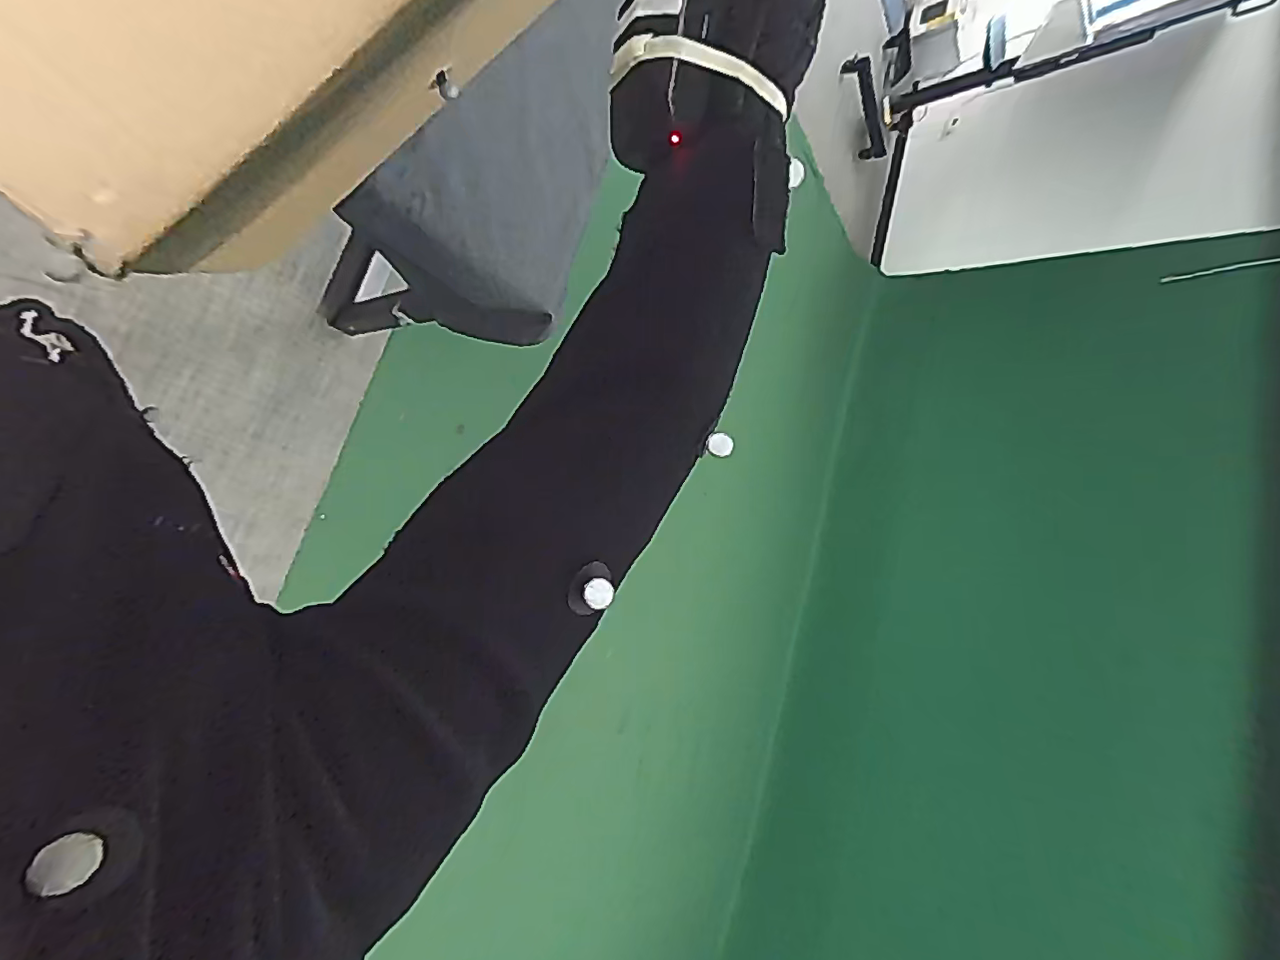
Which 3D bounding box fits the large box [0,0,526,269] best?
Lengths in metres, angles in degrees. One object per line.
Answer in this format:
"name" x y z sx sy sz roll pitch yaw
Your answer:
"large box" -0.231 -0.384 0.296 0.408 0.320 0.320 -45 122 -1
